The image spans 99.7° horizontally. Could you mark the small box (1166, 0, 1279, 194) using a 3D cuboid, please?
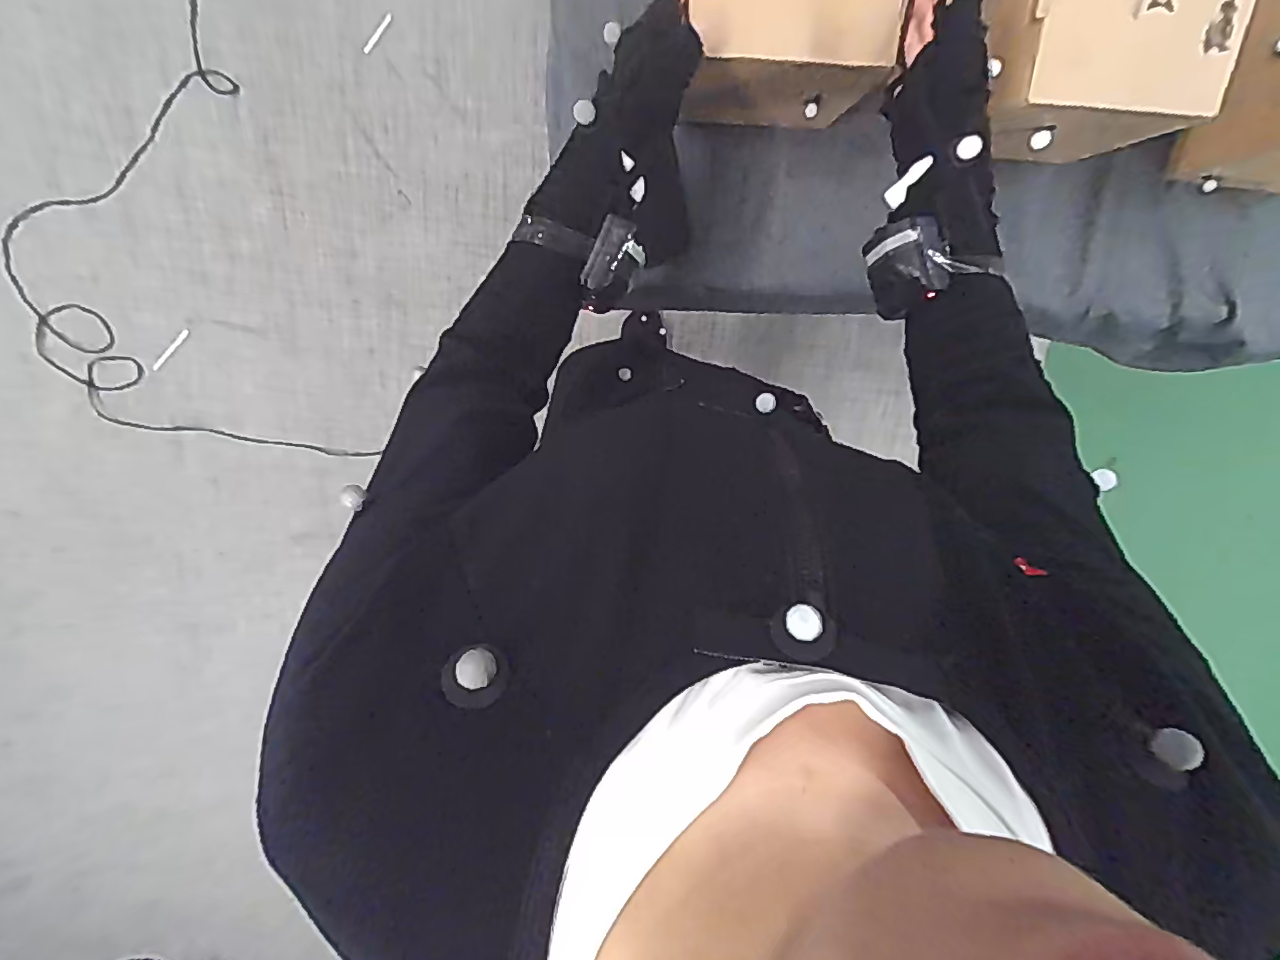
[{"bbox_3d":[0.694,-0.399,0.537,0.168,0.176,0.179,4,107,-4],"label":"small box"}]

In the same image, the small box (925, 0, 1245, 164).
[{"bbox_3d":[0.409,-0.418,0.519,0.179,0.176,0.168,2,108,-3],"label":"small box"}]

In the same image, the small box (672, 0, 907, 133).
[{"bbox_3d":[0.127,-0.441,0.500,0.179,0.176,0.168,1,107,-2],"label":"small box"}]
